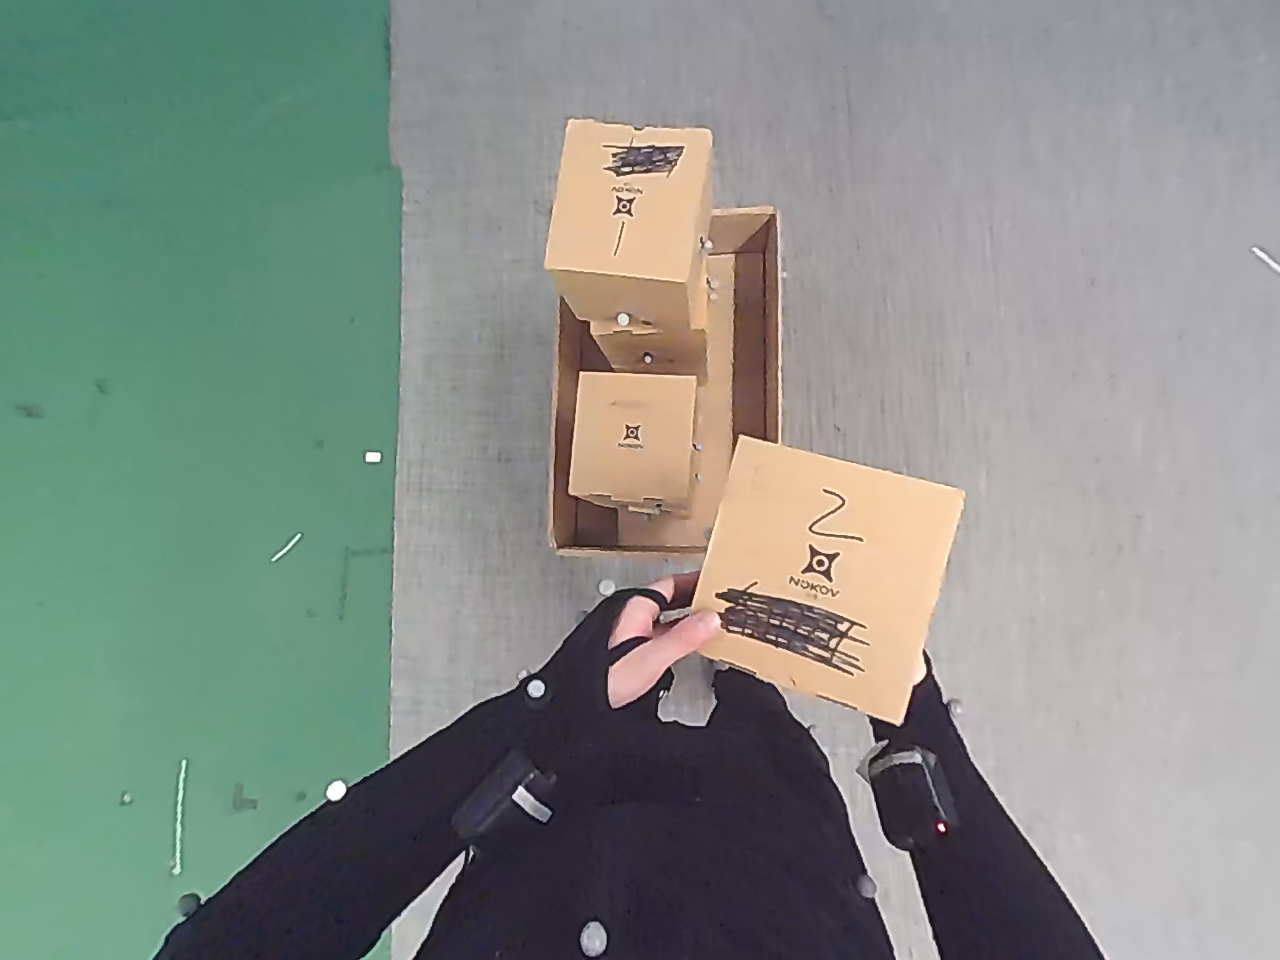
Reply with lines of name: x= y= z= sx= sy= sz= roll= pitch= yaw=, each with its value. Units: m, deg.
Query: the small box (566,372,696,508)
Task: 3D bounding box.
small box: x=-0.004 y=-0.052 z=0.821 sx=0.168 sy=0.176 sz=0.179 roll=5 pitch=84 yaw=7

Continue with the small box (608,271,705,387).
small box: x=0.037 y=-0.278 z=1.005 sx=0.168 sy=0.176 sz=0.179 roll=0 pitch=86 yaw=8

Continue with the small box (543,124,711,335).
small box: x=-0.008 y=-0.303 z=0.683 sx=0.168 sy=0.176 sz=0.179 roll=9 pitch=88 yaw=7

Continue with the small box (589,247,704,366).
small box: x=0.016 y=-0.287 z=0.845 sx=0.168 sy=0.176 sz=0.179 roll=0 pitch=87 yaw=6
